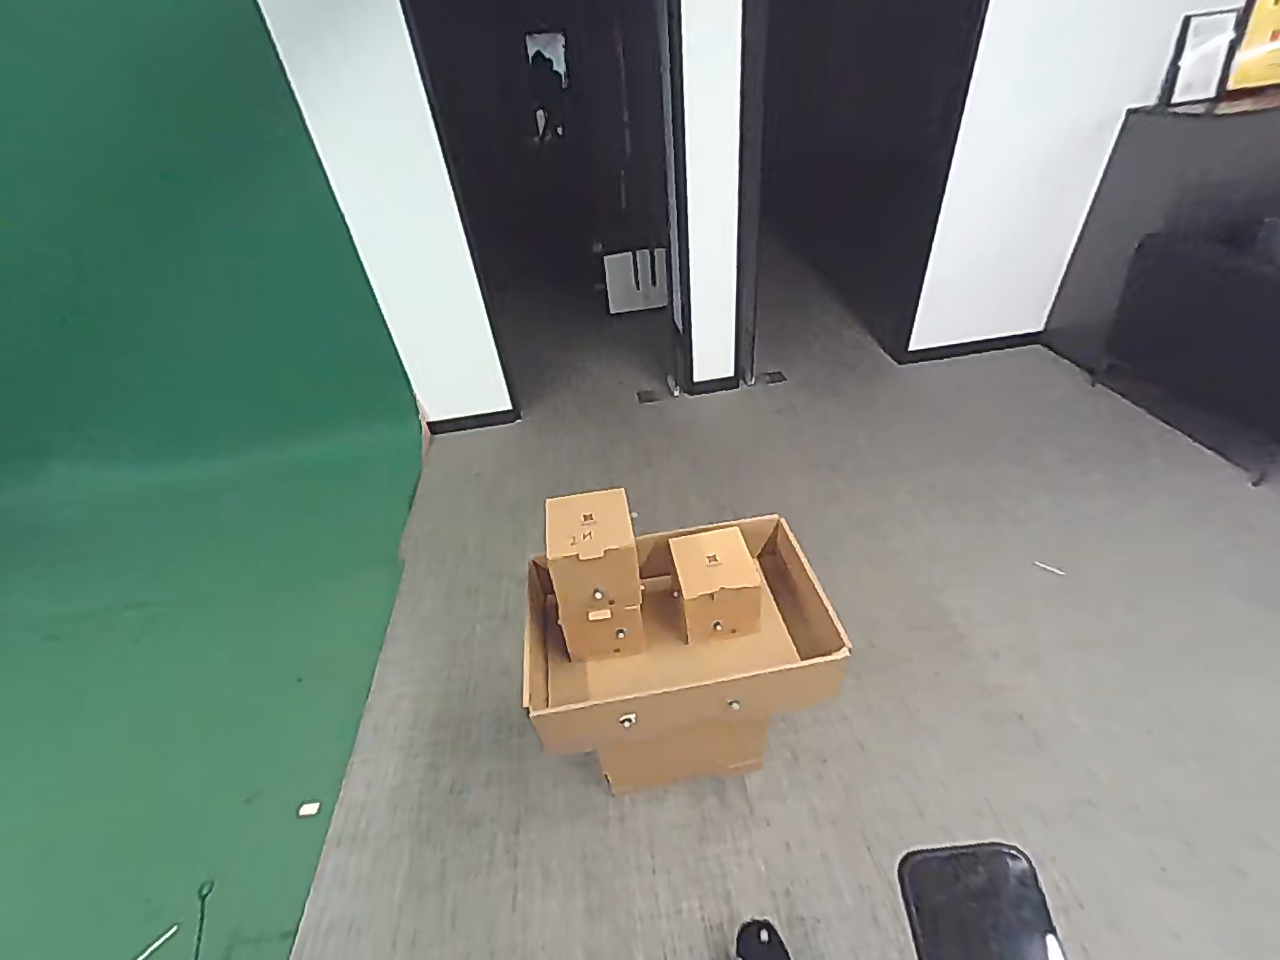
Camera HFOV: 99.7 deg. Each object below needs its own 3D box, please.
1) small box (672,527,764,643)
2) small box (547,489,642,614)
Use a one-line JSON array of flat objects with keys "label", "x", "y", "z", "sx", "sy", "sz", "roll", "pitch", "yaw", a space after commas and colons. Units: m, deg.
[{"label": "small box", "x": 0.169, "y": 0.234, "z": 1.211, "sx": 0.168, "sy": 0.176, "sz": 0.179, "roll": -10, "pitch": 40, "yaw": -2}, {"label": "small box", "x": -0.092, "y": 0.144, "z": 1.099, "sx": 0.168, "sy": 0.176, "sz": 0.179, "roll": -9, "pitch": 39, "yaw": -3}]
